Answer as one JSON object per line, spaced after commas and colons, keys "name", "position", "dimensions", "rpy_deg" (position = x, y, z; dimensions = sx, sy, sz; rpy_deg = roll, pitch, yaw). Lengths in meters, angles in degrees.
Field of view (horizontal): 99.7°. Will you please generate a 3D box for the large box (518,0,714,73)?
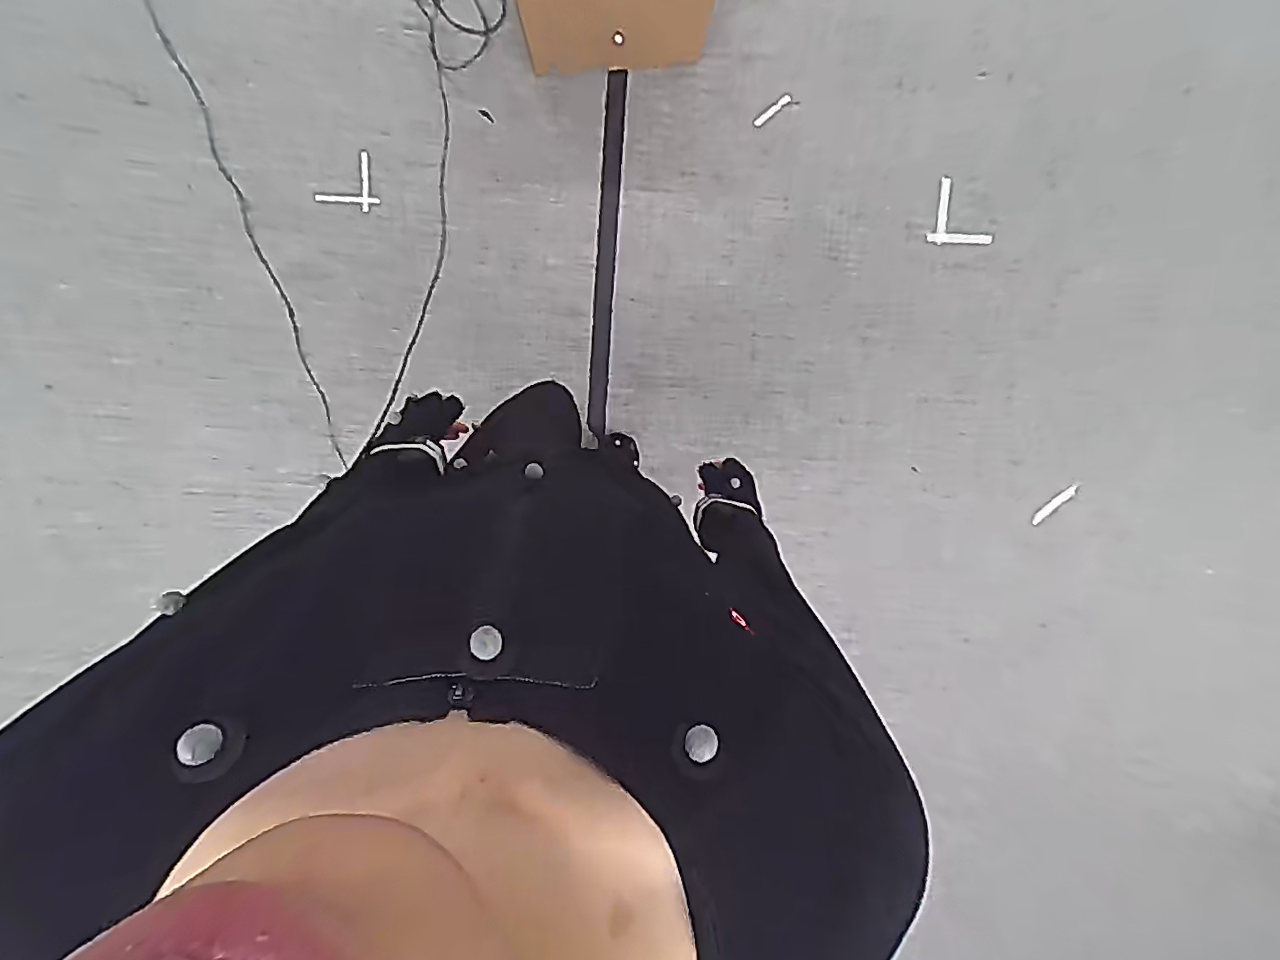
{"name": "large box", "position": [-0.060, -1.131, 1.148], "dimensions": [0.408, 0.320, 0.320], "rpy_deg": [-6, 100, -1]}
